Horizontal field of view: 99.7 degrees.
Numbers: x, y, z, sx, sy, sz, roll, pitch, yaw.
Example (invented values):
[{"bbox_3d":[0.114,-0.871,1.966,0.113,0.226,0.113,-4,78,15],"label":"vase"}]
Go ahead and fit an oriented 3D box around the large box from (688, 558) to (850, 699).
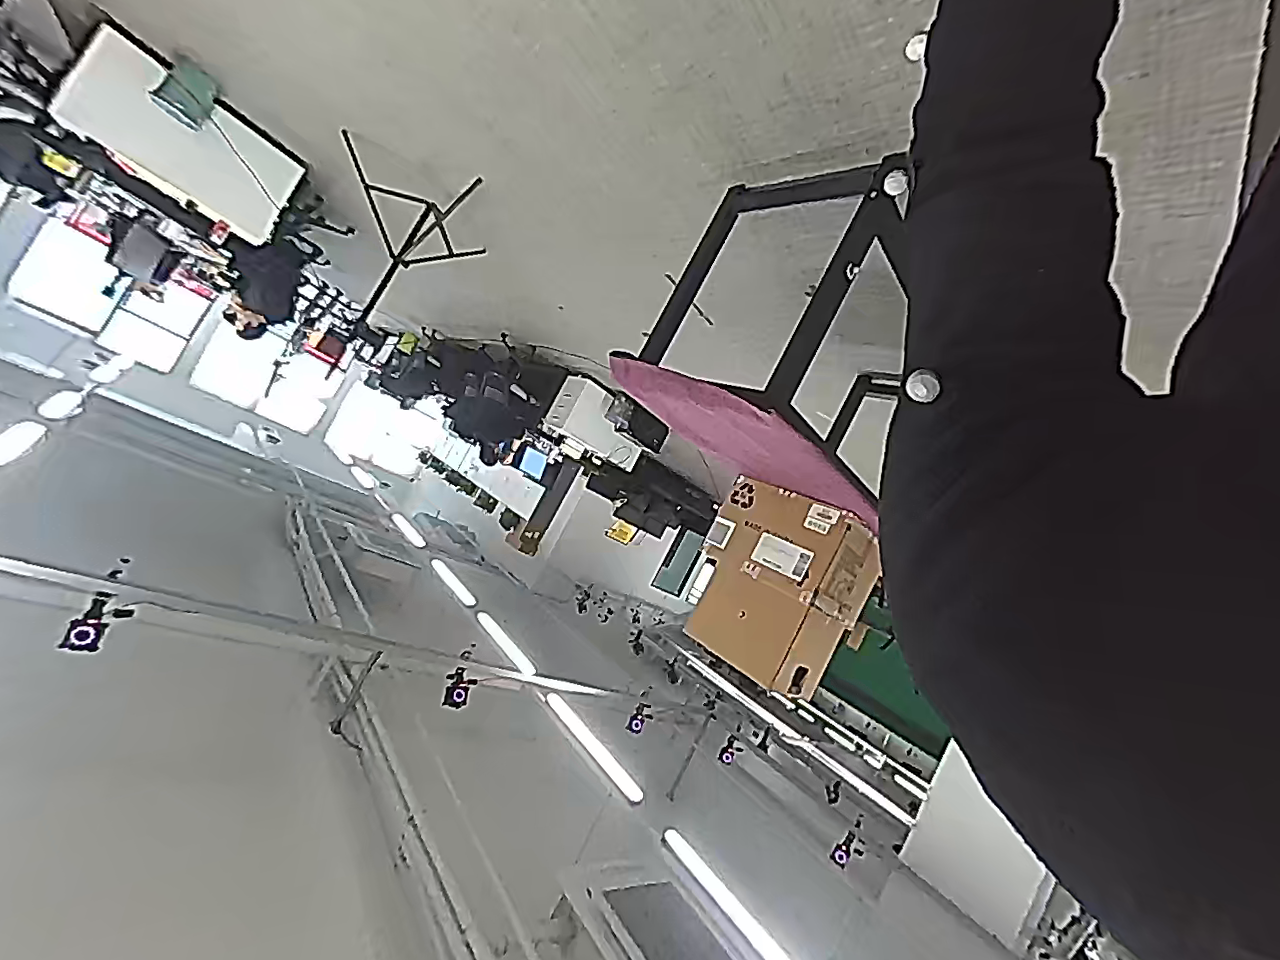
[{"bbox_3d":[0.455,0.519,1.930,0.320,0.320,0.408,30,175,-41],"label":"large box"}]
